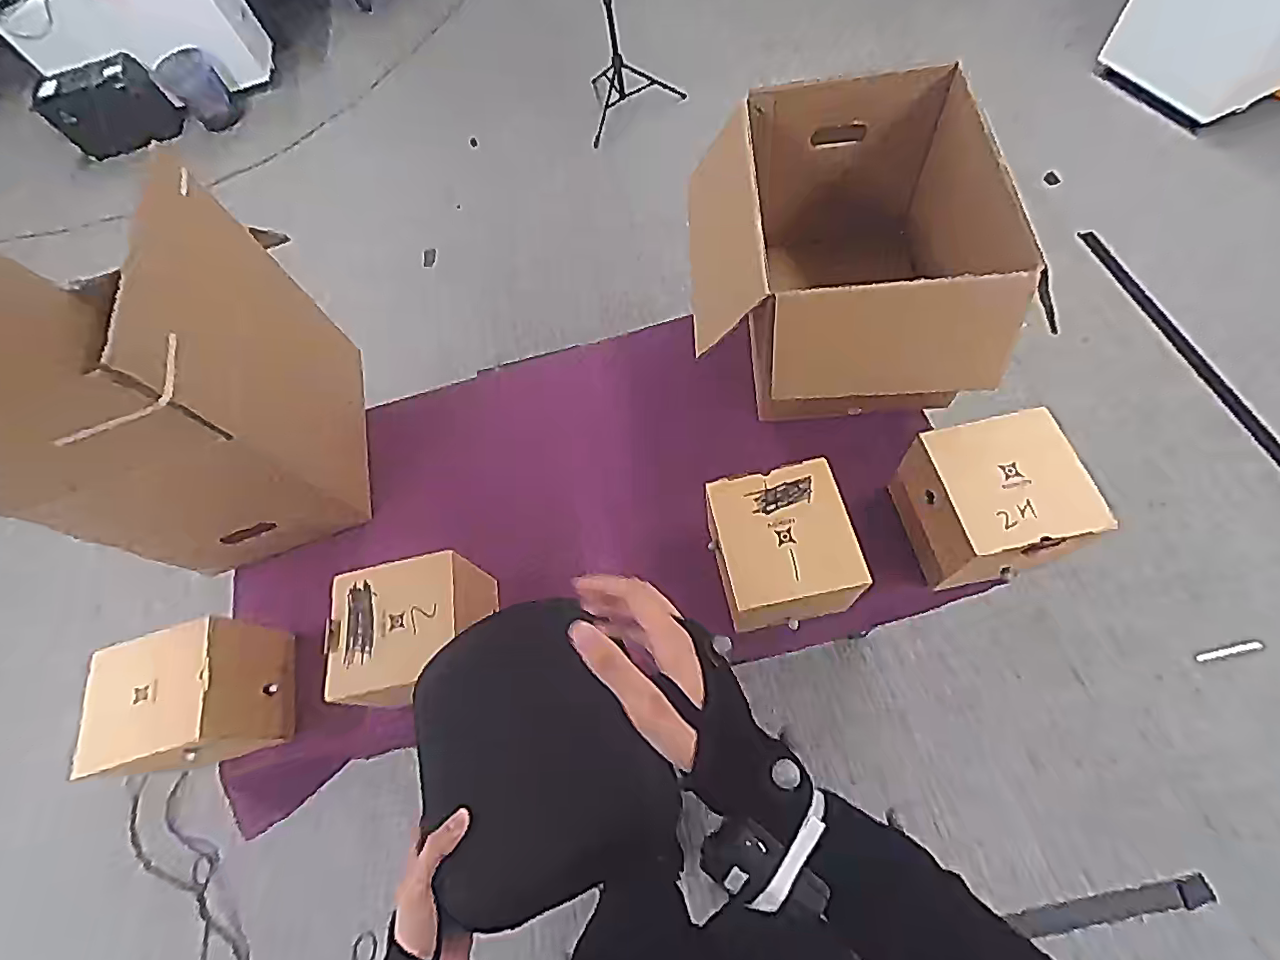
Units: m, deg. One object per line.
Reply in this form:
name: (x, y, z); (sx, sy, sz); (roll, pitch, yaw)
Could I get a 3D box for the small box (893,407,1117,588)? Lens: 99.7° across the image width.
small box: (0.470, 0.031, 0.736); (0.168, 0.176, 0.179); (-13, 64, 4)

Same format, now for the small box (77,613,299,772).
small box: (-0.643, 0.315, 0.793); (0.179, 0.176, 0.168); (-18, 64, 0)

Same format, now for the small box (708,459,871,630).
small box: (0.193, 0.097, 0.754); (0.168, 0.176, 0.179); (-13, 65, 4)
